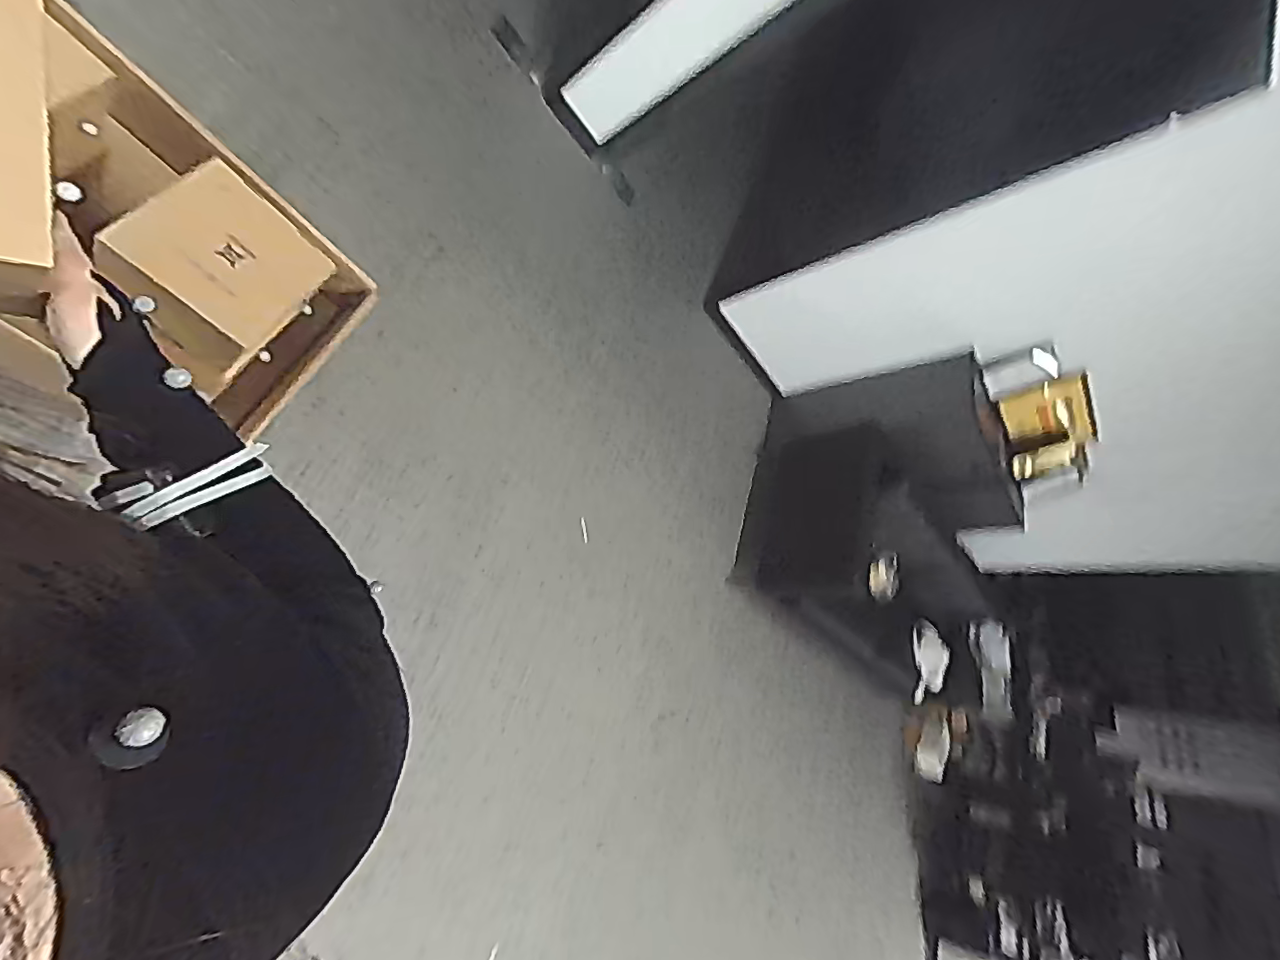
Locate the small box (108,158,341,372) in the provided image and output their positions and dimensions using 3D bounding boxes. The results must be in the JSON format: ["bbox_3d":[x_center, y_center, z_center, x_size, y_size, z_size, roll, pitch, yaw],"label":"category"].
[{"bbox_3d":[-0.544,-0.270,0.709,0.168,0.176,0.179,47,54,-32],"label":"small box"}]

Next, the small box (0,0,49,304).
[{"bbox_3d":[-0.456,-0.204,0.294,0.179,0.176,0.168,-3,94,-47],"label":"small box"}]
